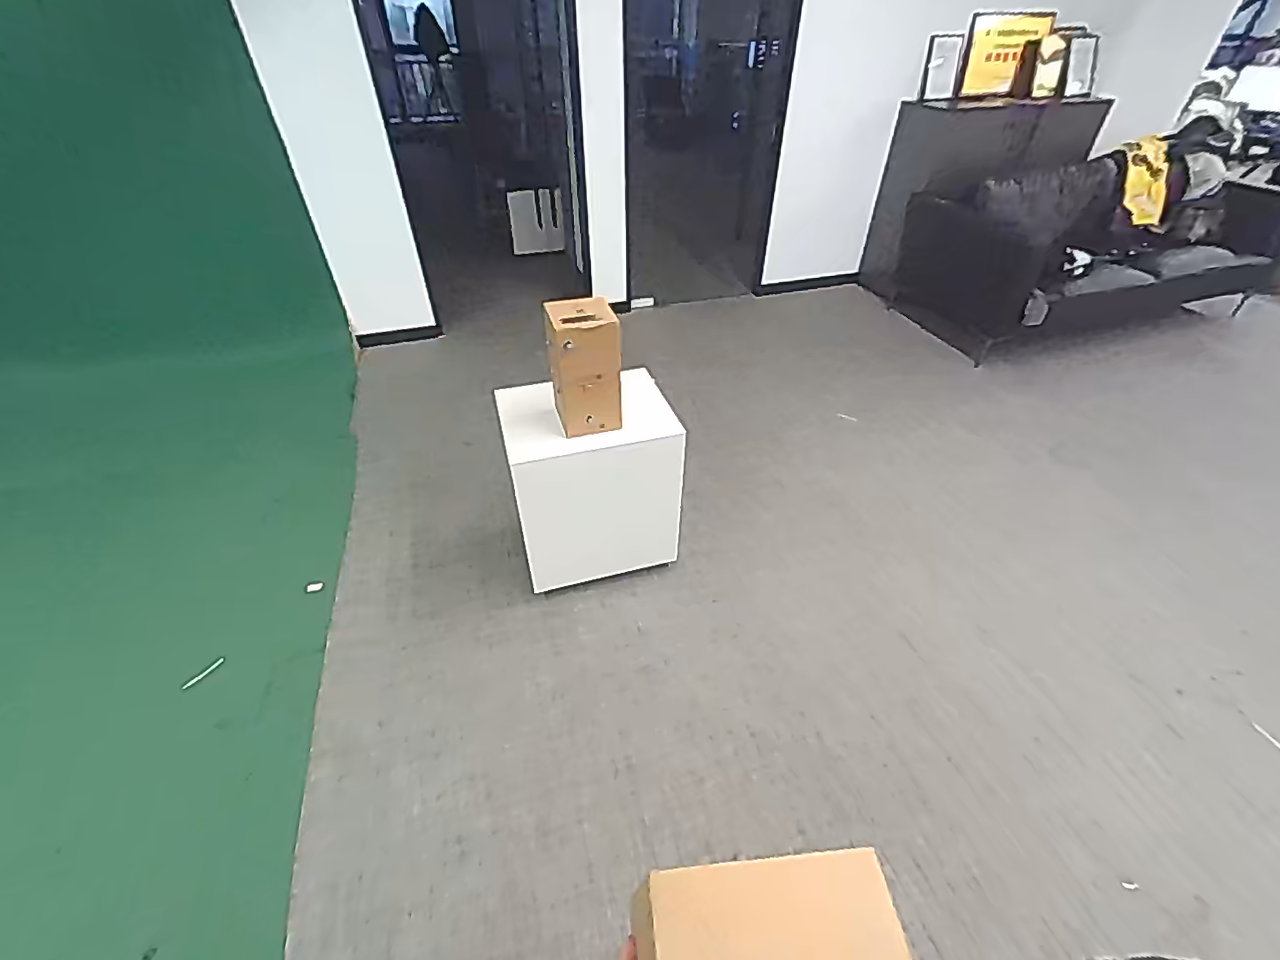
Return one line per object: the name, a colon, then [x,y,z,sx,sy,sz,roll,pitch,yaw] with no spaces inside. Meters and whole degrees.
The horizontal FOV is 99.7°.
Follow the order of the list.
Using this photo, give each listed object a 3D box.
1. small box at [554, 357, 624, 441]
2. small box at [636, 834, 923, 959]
small box: [-0.148,-0.235,1.559,0.168,0.176,0.179,-11,41,-13]
small box: [0.088,0.366,0.367,0.168,0.176,0.179,0,46,-6]
